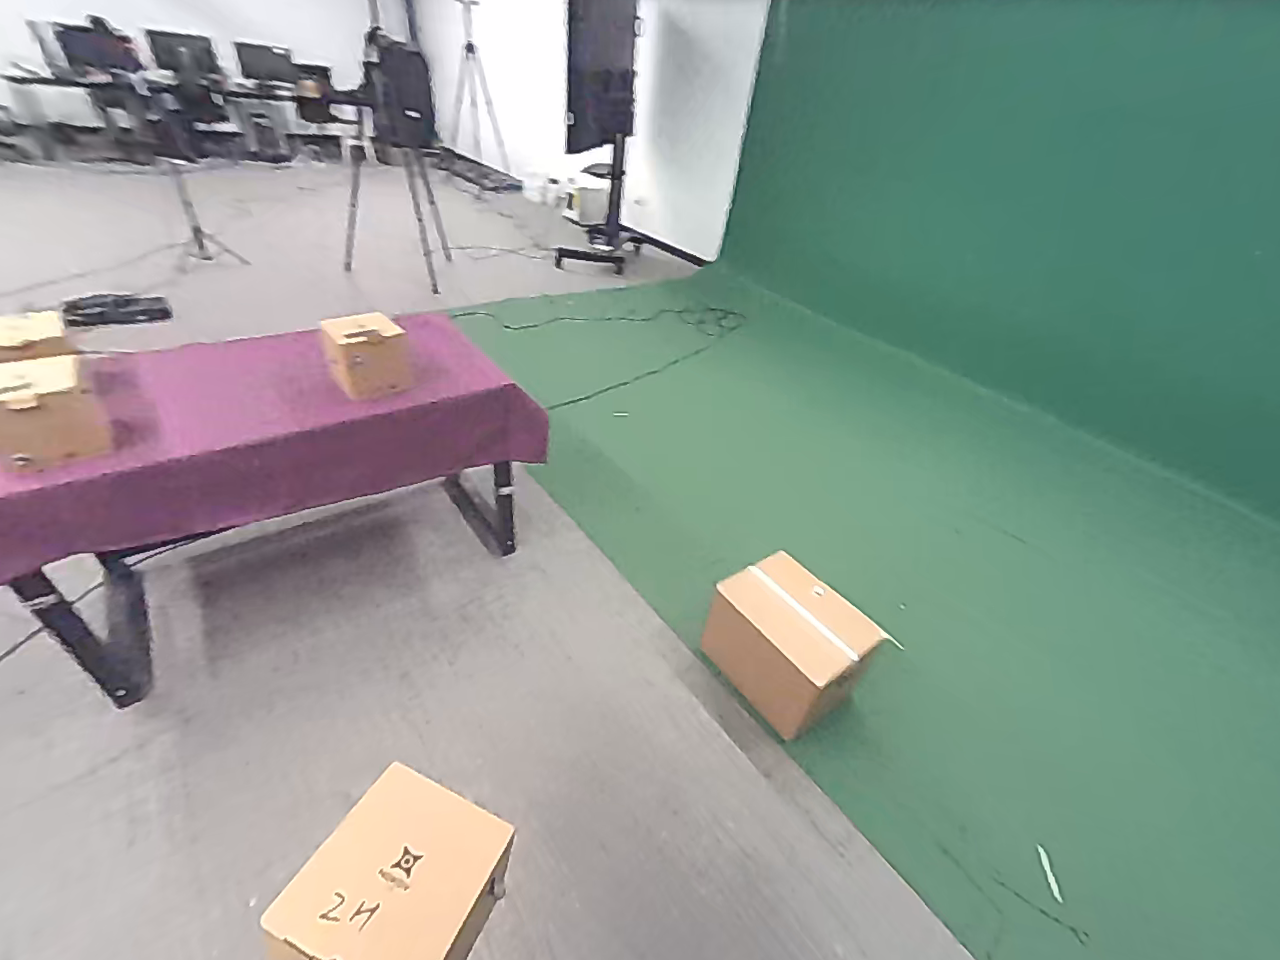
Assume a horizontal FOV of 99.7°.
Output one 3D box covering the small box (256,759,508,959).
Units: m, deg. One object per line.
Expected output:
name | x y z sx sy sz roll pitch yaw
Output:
small box | -0.269 0.457 0.585 0.168 0.176 0.179 22 30 11

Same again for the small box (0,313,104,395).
small box | -1.441 -0.280 1.302 0.168 0.176 0.179 -23 48 -35

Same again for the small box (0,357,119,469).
small box | -1.254 -0.139 1.151 0.168 0.176 0.179 -21 44 -33
